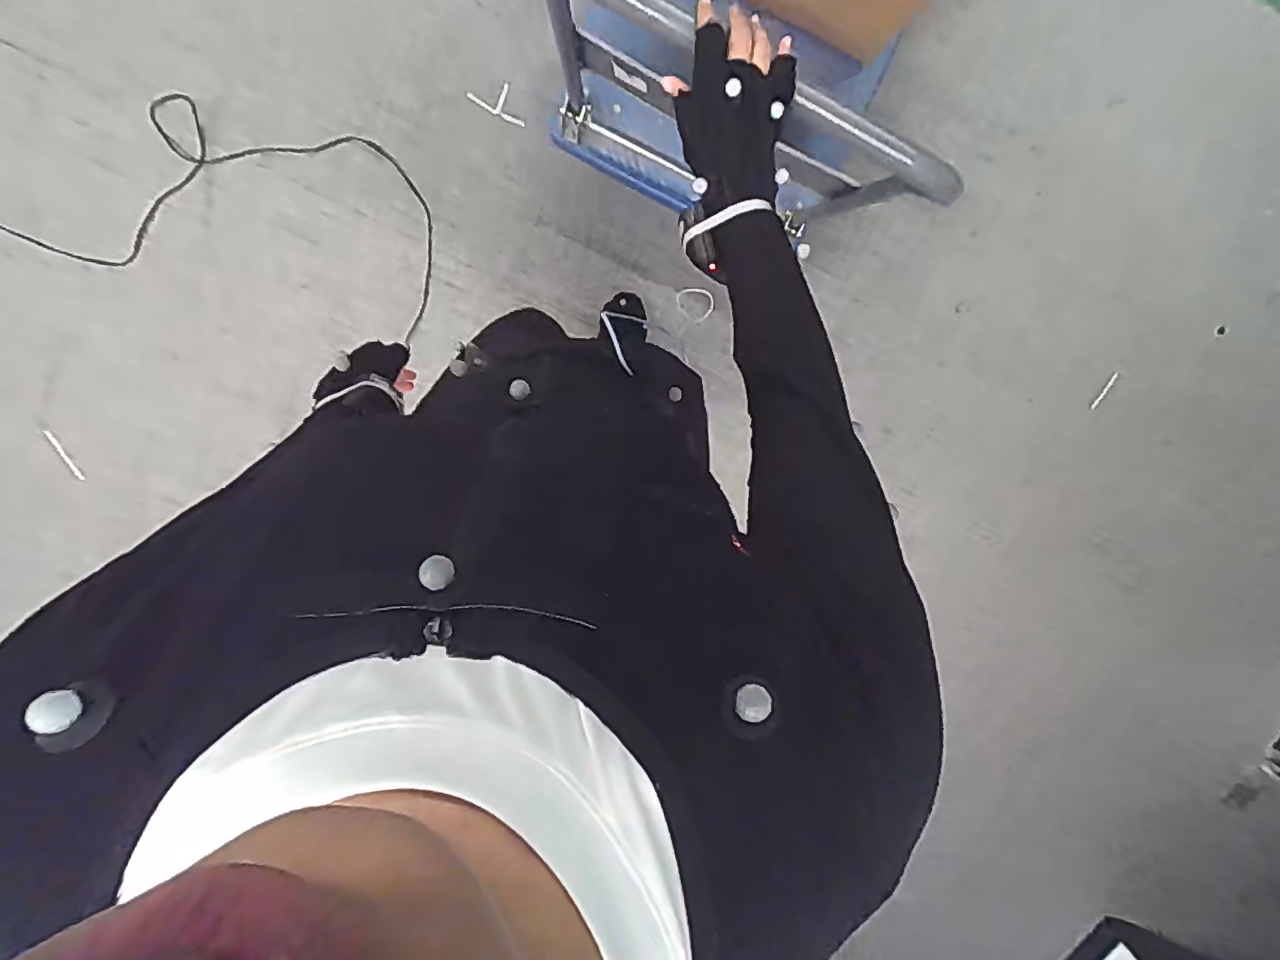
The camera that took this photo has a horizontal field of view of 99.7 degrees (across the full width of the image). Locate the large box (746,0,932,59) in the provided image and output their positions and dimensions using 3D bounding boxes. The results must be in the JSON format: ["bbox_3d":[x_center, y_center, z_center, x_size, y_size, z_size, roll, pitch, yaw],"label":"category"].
[{"bbox_3d":[0.334,-0.992,0.875,0.408,0.320,0.320,20,104,-9],"label":"large box"}]
